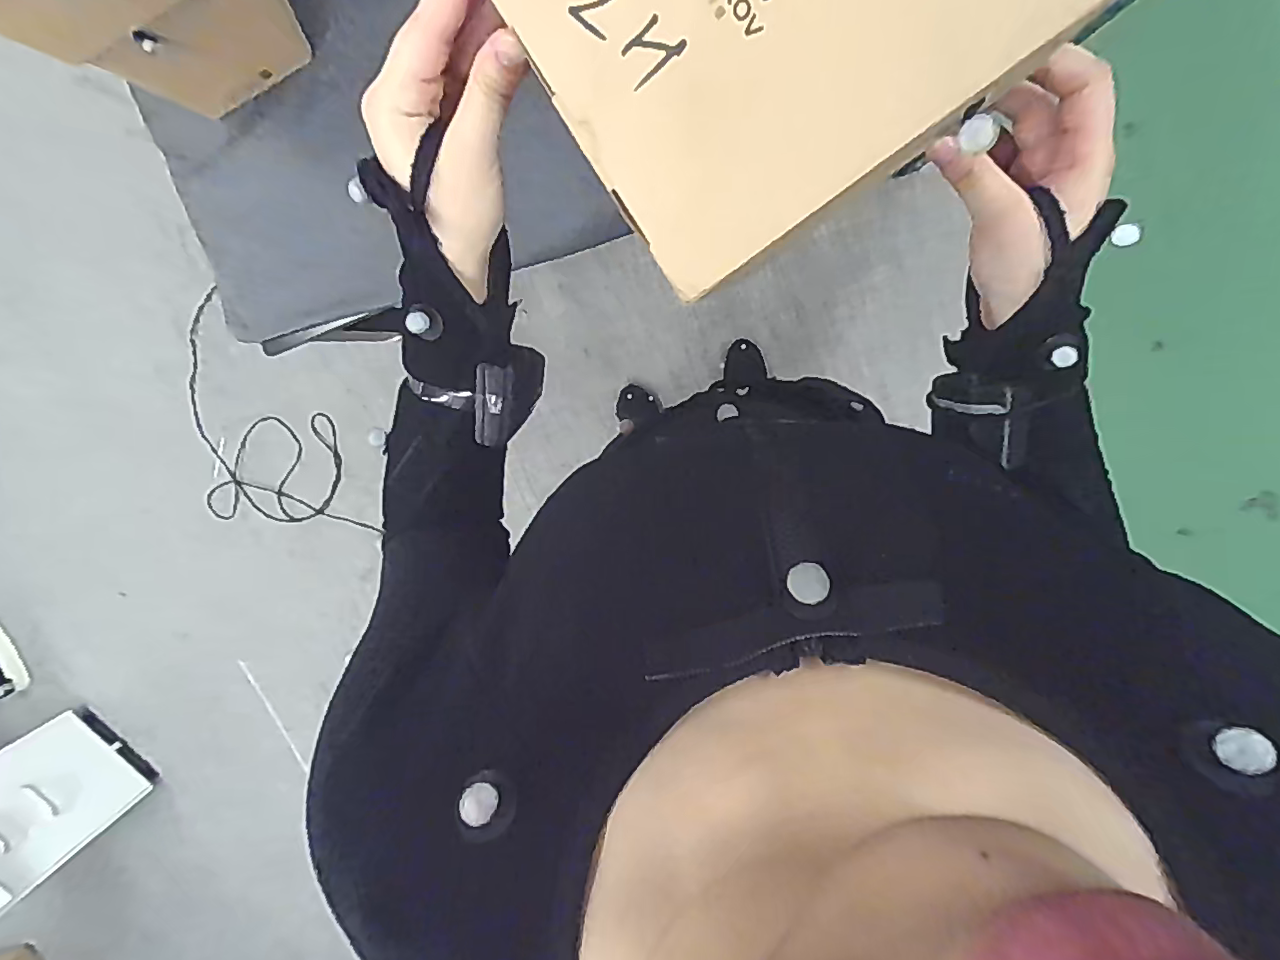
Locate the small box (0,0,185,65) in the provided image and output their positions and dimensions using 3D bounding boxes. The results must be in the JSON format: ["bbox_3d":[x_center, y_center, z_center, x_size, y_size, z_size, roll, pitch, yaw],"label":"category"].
[{"bbox_3d":[-0.520,-0.490,0.433,0.179,0.176,0.168,-21,103,11],"label":"small box"}]

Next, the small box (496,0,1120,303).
[{"bbox_3d":[0.067,-0.214,0.260,0.179,0.176,0.168,-27,102,30],"label":"small box"}]

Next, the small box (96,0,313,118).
[{"bbox_3d":[-0.511,-0.546,0.588,0.168,0.176,0.179,-21,102,10],"label":"small box"}]
